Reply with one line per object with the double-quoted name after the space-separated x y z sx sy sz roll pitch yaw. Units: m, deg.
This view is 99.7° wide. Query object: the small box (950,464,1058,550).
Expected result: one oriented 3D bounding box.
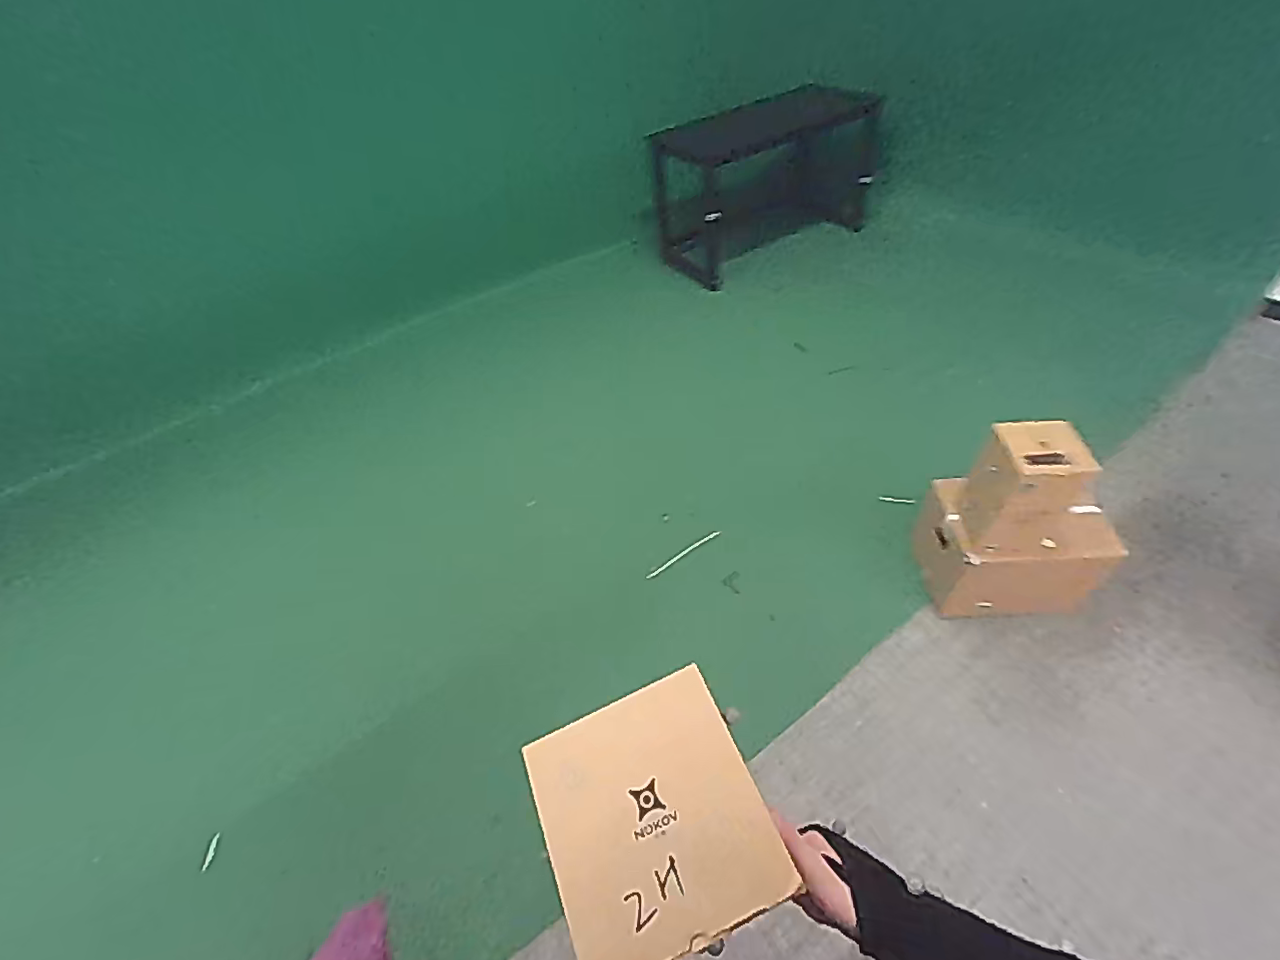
0.975 0.078 1.466 0.168 0.176 0.179 -1 47 7 "small box"
